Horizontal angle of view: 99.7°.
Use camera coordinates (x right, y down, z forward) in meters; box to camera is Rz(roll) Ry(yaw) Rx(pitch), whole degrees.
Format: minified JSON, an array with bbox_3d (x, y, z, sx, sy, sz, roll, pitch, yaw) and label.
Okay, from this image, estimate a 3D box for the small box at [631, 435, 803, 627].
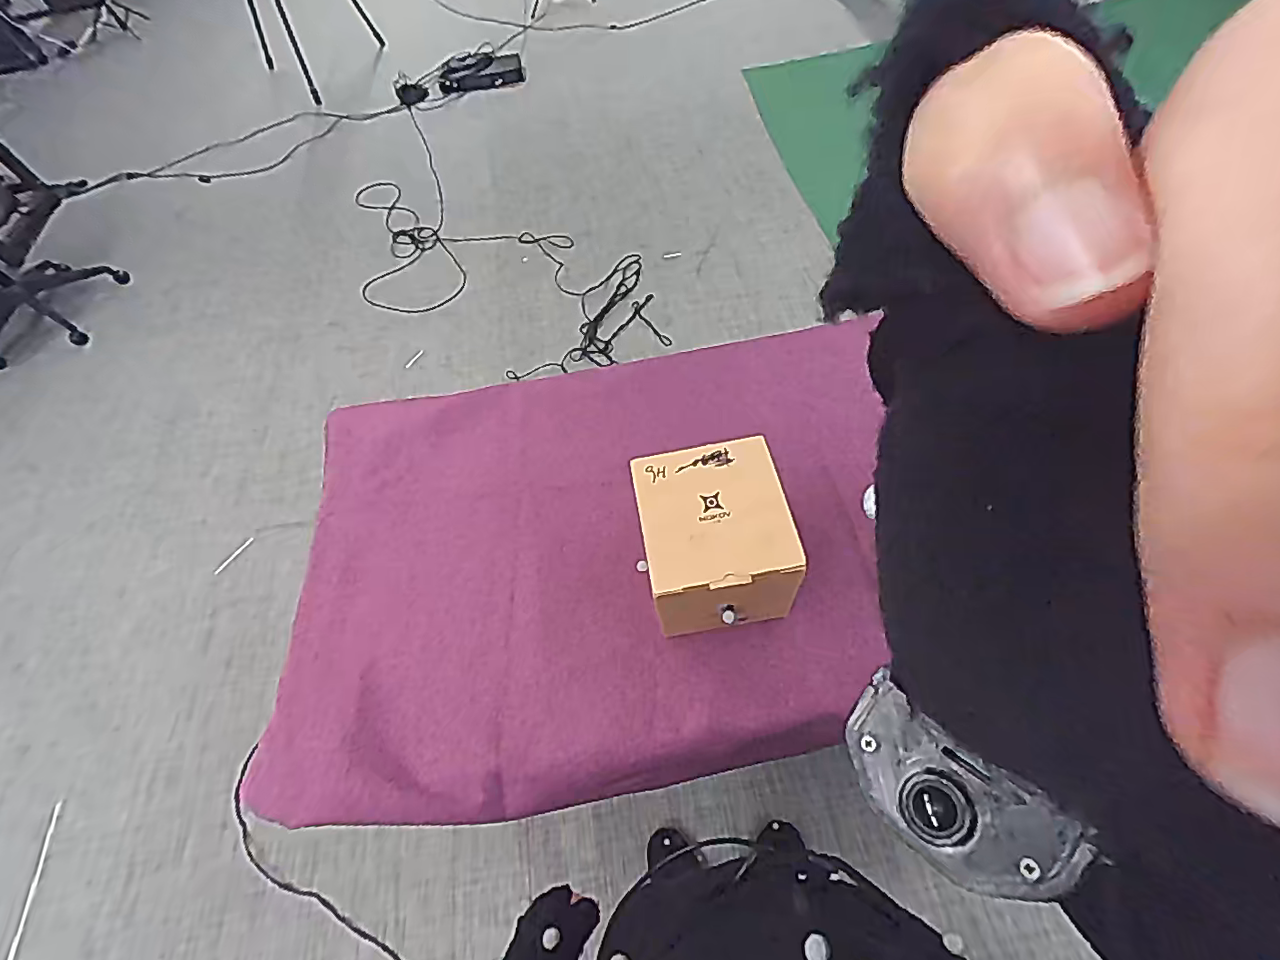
[{"bbox_3d":[0.090,0.073,0.674,0.168,0.176,0.179,-10,59,1],"label":"small box"}]
